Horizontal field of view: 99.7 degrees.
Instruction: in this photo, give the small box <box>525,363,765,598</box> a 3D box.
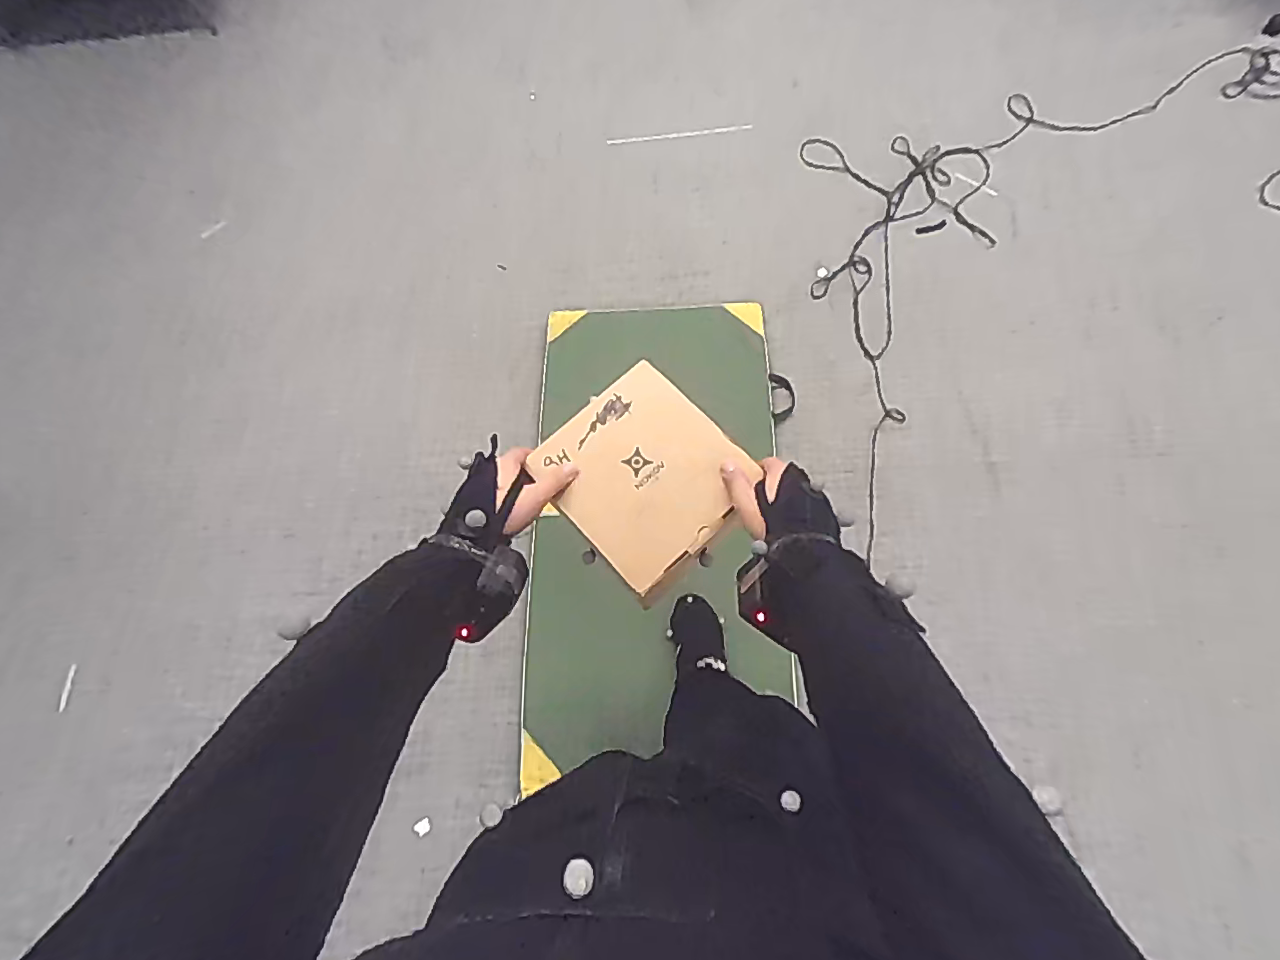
[{"bbox_3d":[0.007,0.014,0.593,0.168,0.176,0.179,-41,75,-11],"label":"small box"}]
